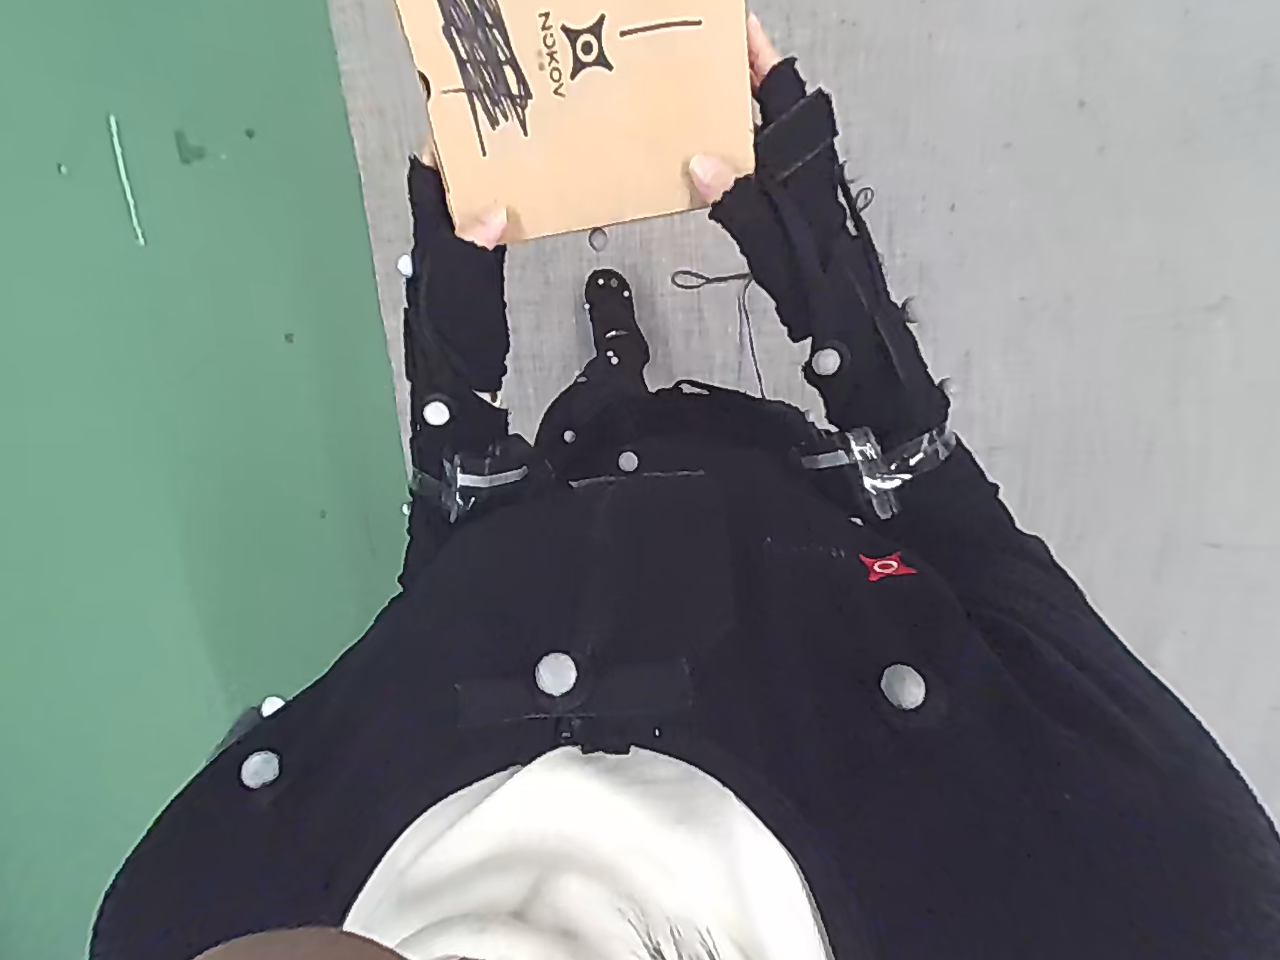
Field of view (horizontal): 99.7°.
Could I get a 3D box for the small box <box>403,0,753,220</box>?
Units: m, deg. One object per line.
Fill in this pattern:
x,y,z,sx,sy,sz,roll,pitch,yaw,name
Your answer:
-0.022,-0.267,0.344,0.179,0.176,0.168,-4,116,11,small box
